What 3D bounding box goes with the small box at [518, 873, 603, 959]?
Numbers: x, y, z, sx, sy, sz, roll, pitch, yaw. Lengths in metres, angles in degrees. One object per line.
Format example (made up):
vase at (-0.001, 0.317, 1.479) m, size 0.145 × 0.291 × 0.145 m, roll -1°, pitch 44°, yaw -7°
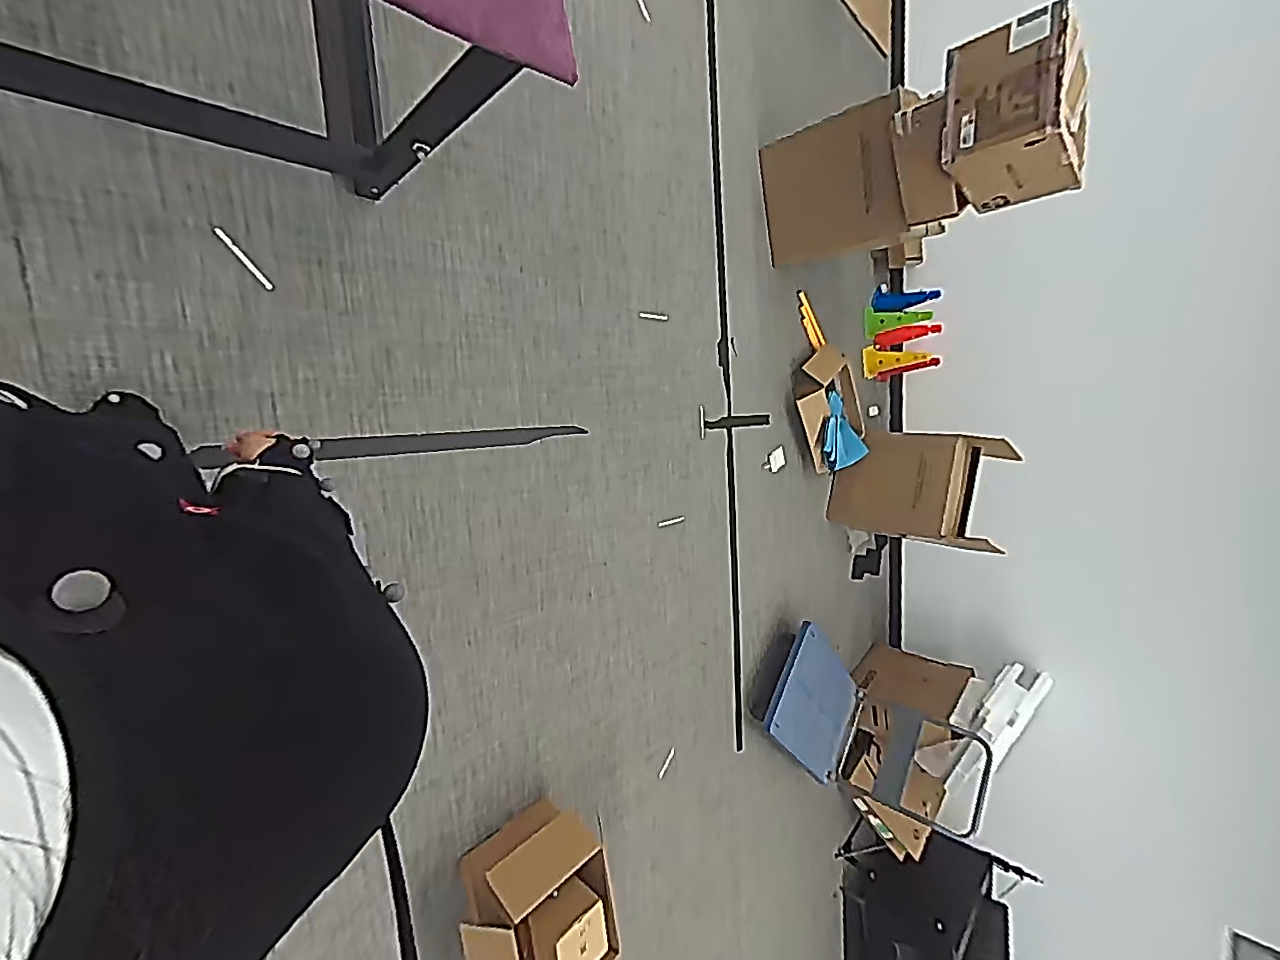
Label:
small box at (-0.226, 1.283, 1.539) m, size 0.168 × 0.176 × 0.179 m, roll -15°, pitch 103°, yaw -45°
